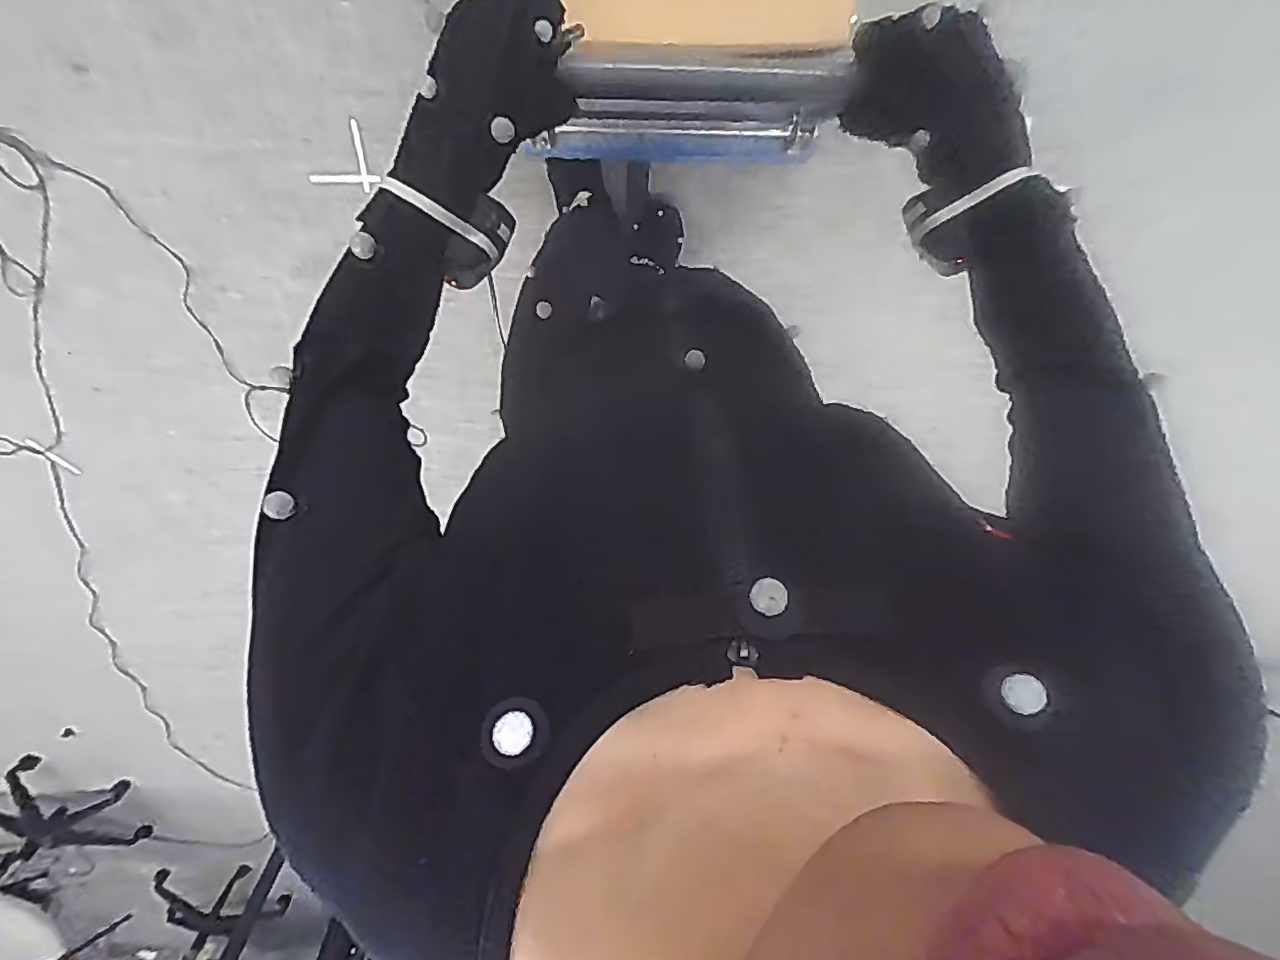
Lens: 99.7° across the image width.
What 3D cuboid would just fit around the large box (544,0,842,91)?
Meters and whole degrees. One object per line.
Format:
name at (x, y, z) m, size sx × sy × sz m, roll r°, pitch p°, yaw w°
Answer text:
large box at (0.054, -0.790, 0.792) m, size 0.408 × 0.320 × 0.320 m, roll -5°, pitch 122°, yaw -1°
